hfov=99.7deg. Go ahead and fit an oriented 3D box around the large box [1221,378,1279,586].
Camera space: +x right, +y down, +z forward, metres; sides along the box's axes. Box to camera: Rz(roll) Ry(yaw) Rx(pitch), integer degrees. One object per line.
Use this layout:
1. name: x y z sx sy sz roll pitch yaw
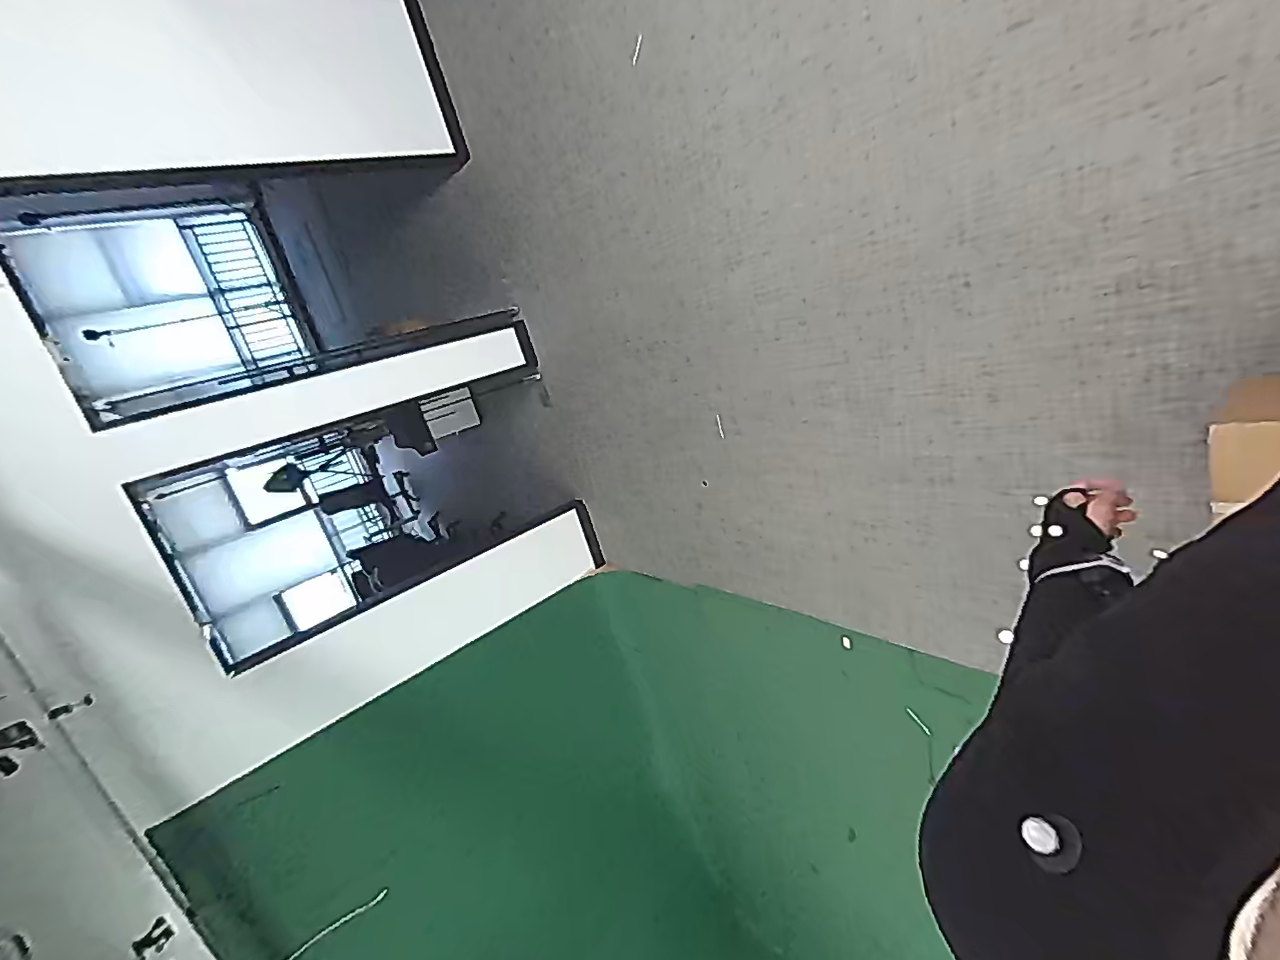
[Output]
1. large box: 1.293 -0.007 0.896 0.408 0.320 0.320 2 112 55
